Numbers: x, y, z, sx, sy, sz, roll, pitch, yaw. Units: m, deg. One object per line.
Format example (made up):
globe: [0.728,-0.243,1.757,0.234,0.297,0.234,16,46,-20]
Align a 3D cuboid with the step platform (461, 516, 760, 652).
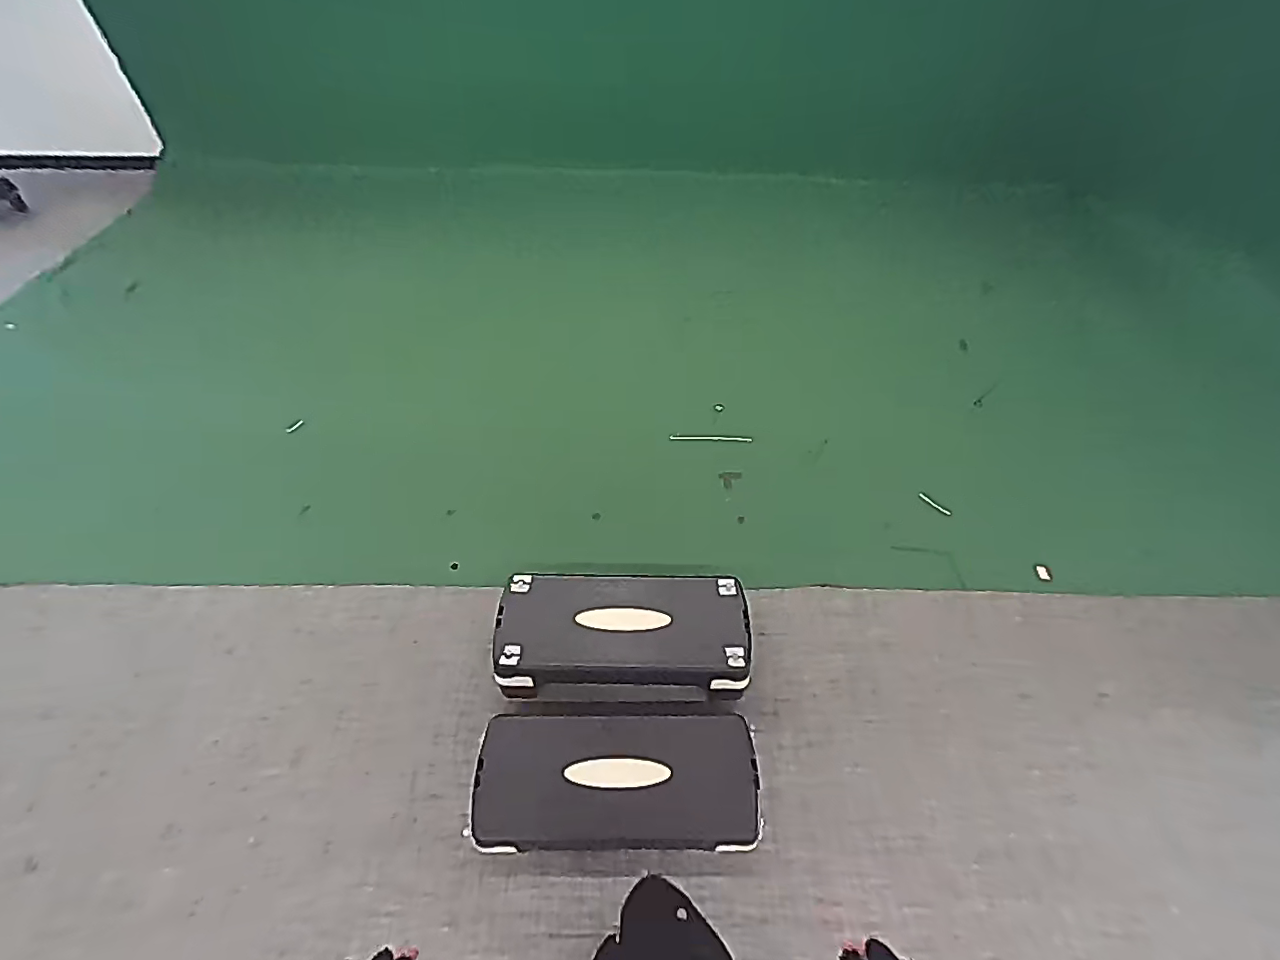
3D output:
step platform: [-0.065,0.259,1.330,0.684,0.204,0.286,0,51,0]
